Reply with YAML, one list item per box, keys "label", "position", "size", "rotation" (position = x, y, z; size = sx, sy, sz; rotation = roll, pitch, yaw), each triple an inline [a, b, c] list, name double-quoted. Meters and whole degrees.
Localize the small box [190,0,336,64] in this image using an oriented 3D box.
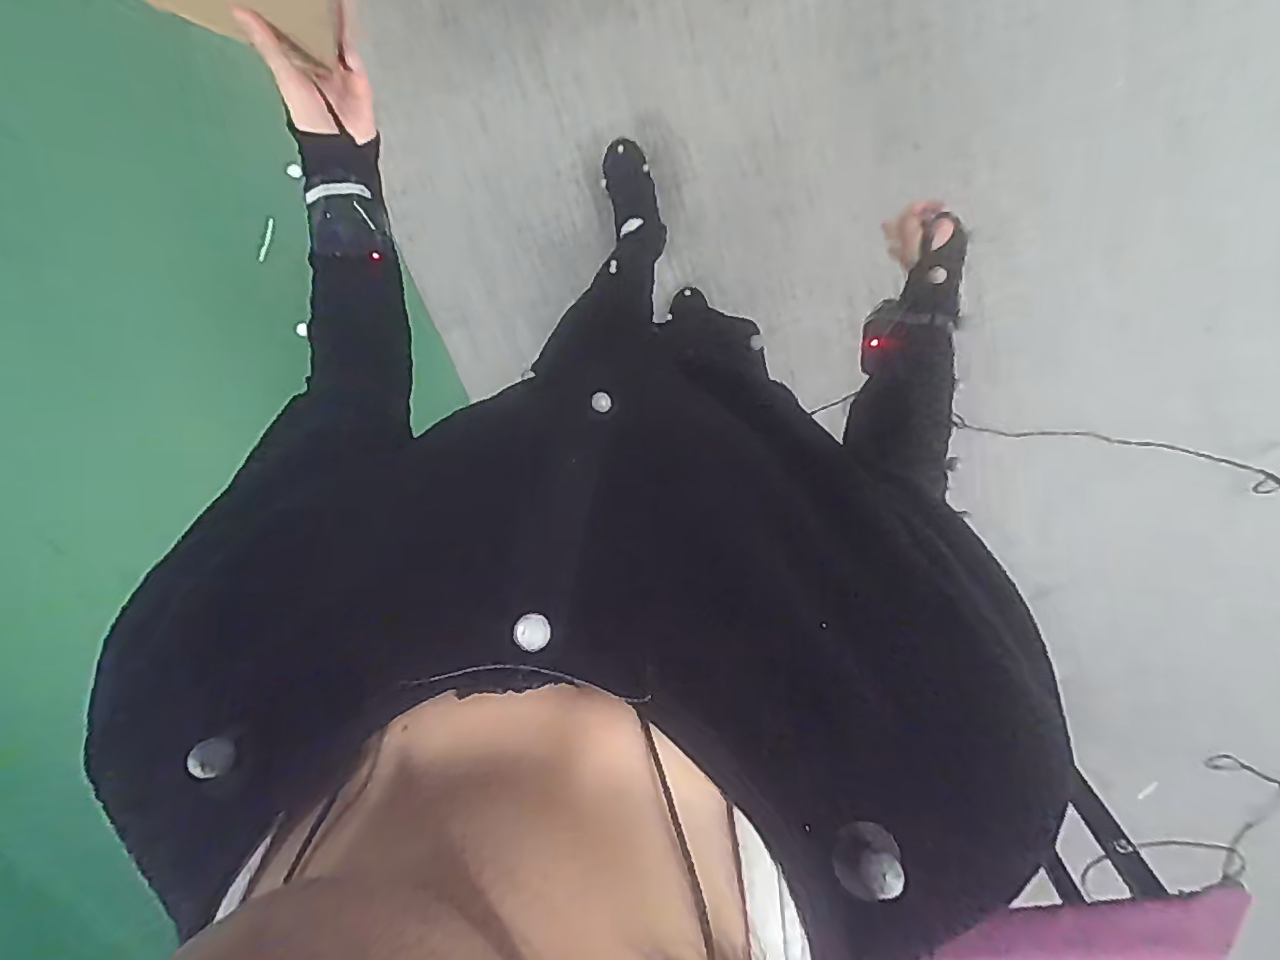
- label: "small box"
  position: [-0.273, -0.425, 0.335]
  size: [0.168, 0.179, 0.176]
  rotation: [9, 95, -30]
